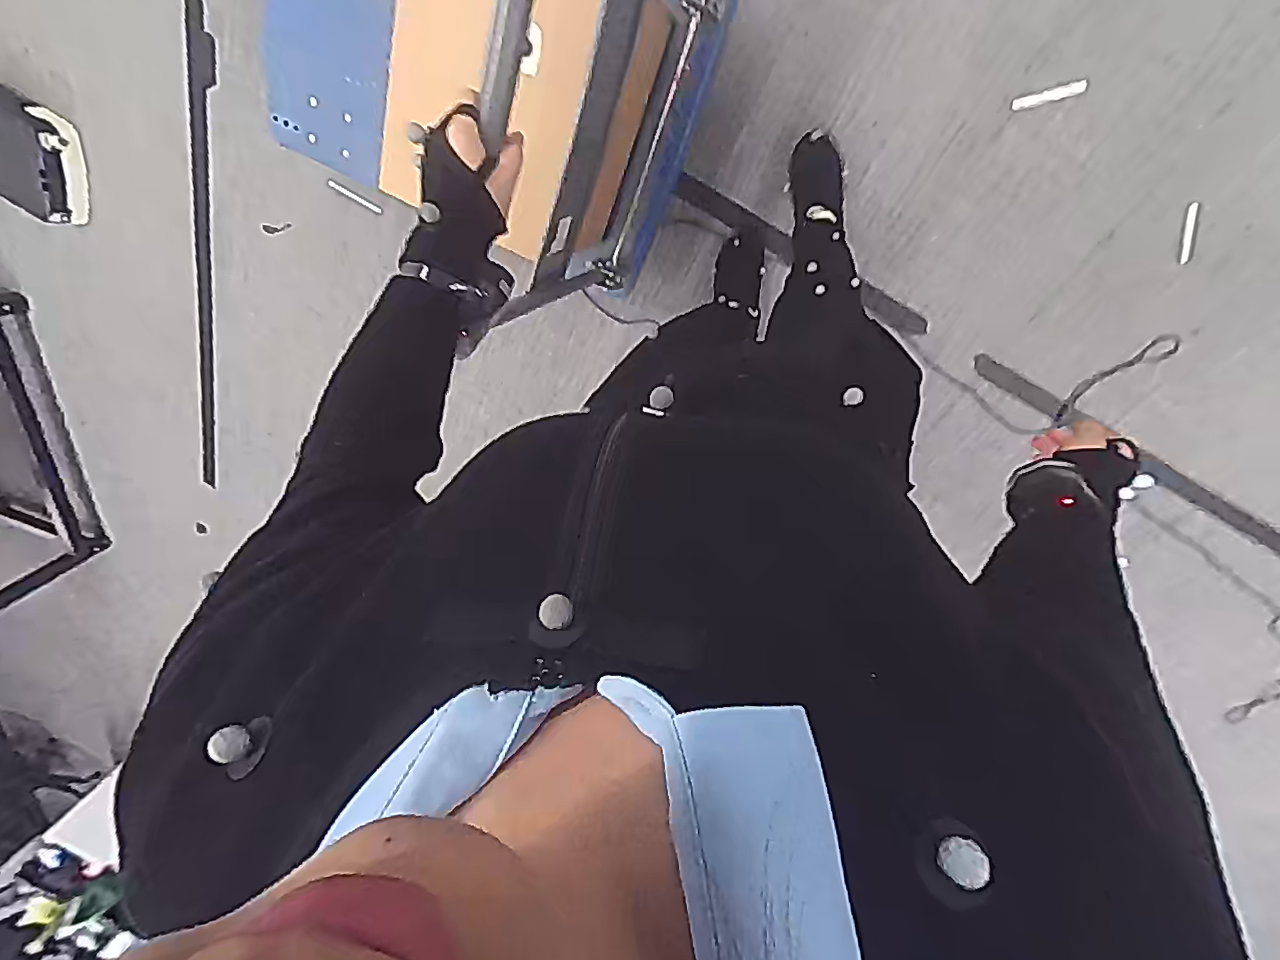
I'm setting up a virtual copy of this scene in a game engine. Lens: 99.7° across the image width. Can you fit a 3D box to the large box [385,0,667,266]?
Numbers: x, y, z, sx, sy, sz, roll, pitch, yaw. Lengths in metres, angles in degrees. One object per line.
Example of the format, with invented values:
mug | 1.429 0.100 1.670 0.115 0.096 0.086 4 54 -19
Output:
large box | -0.188 -0.639 0.928 0.320 0.320 0.408 25 121 -1
